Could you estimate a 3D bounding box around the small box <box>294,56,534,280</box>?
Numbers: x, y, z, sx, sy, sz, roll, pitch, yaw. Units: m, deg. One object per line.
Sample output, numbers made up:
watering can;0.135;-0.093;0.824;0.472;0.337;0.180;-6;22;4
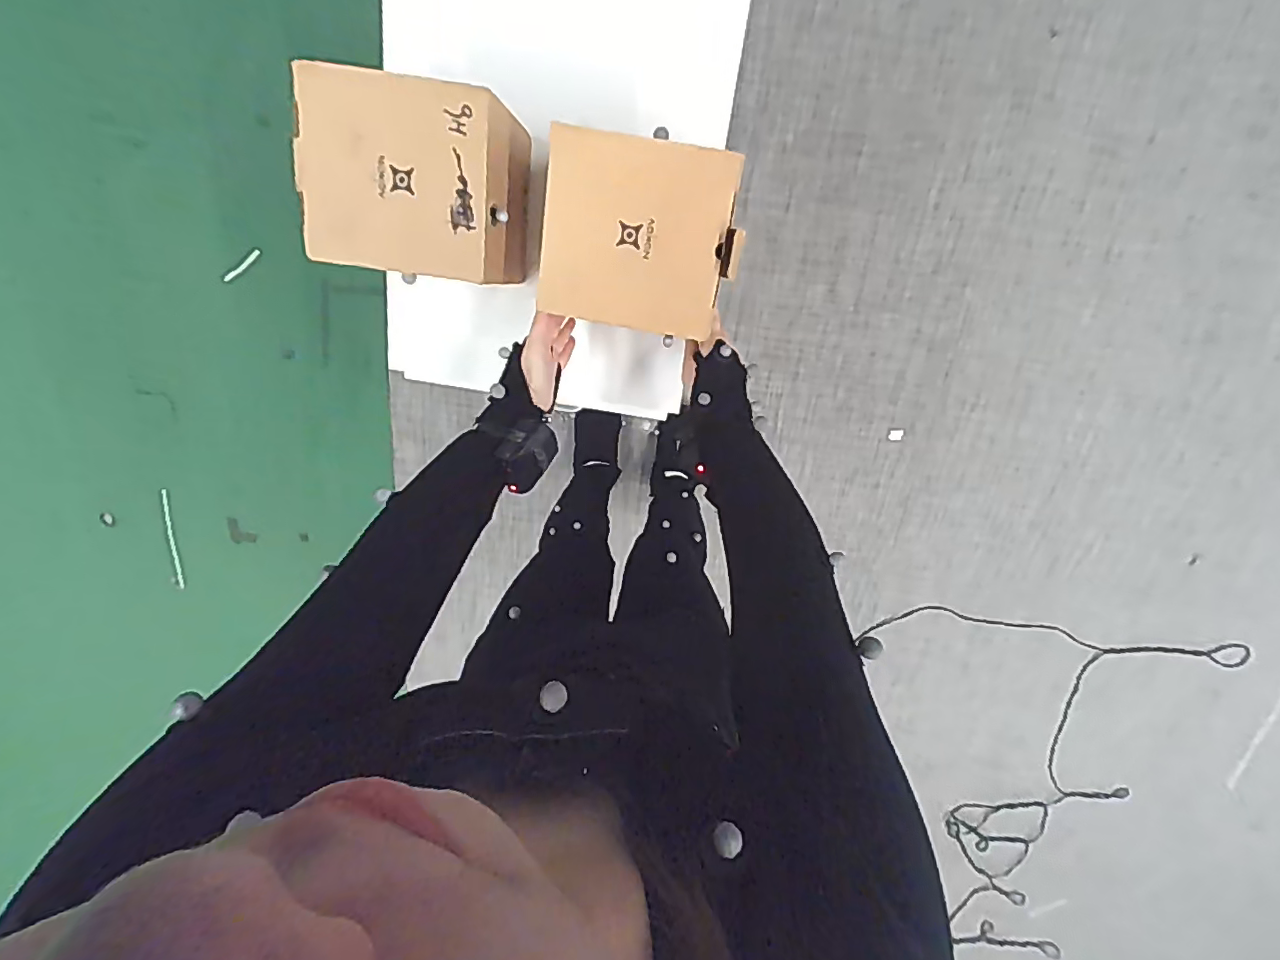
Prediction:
small box;-0.223;-0.308;0.571;0.179;0.176;0.168;8;111;0
